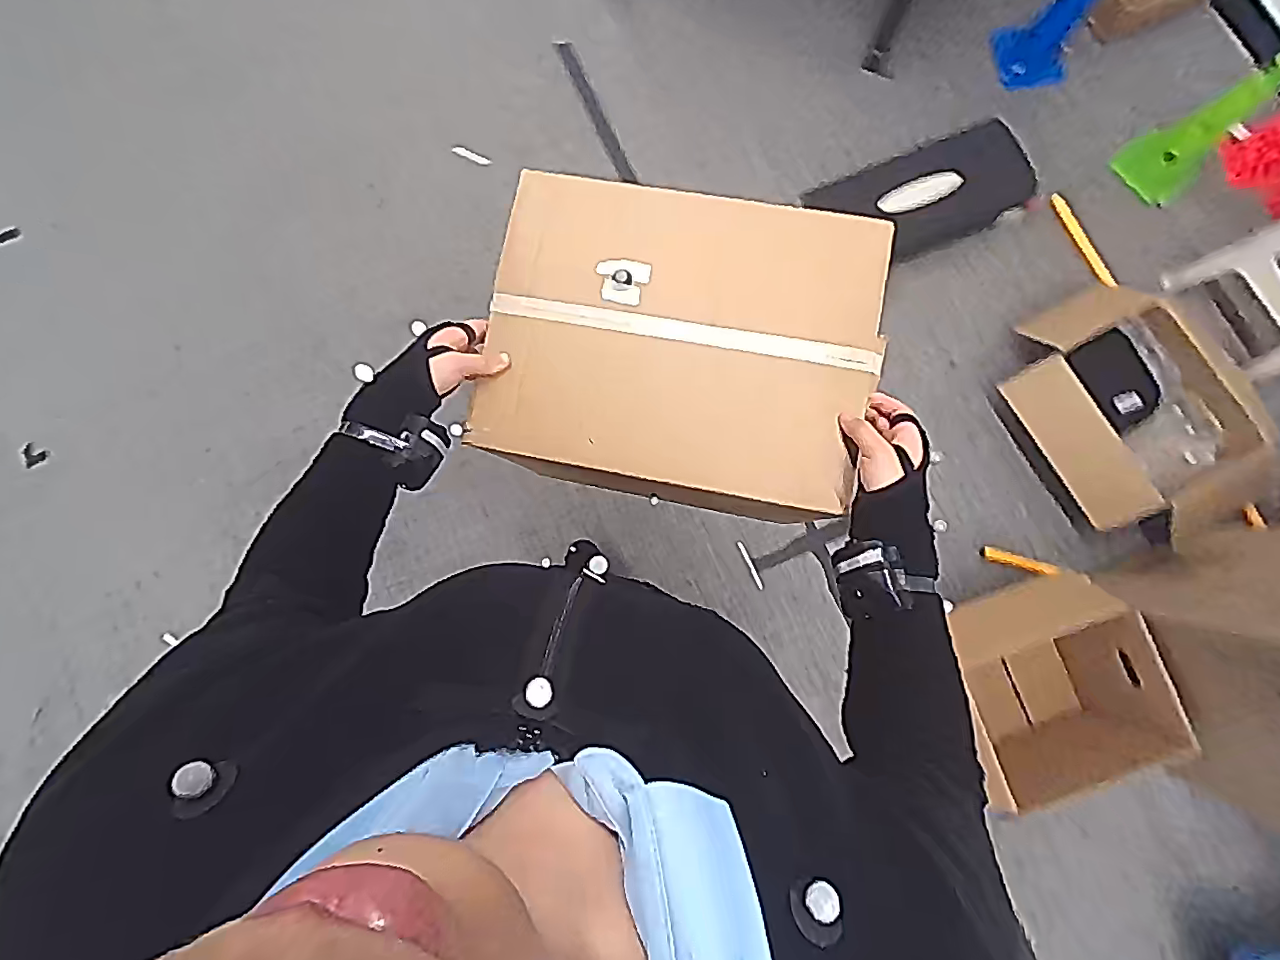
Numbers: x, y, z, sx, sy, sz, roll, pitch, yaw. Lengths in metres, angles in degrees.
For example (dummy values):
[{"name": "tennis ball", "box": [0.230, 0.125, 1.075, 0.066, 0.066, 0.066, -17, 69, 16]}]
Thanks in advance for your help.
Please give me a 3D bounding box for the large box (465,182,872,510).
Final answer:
[{"name": "large box", "box": [0.044, -0.143, 0.724, 0.408, 0.320, 0.320, 10, 84, 6]}]
